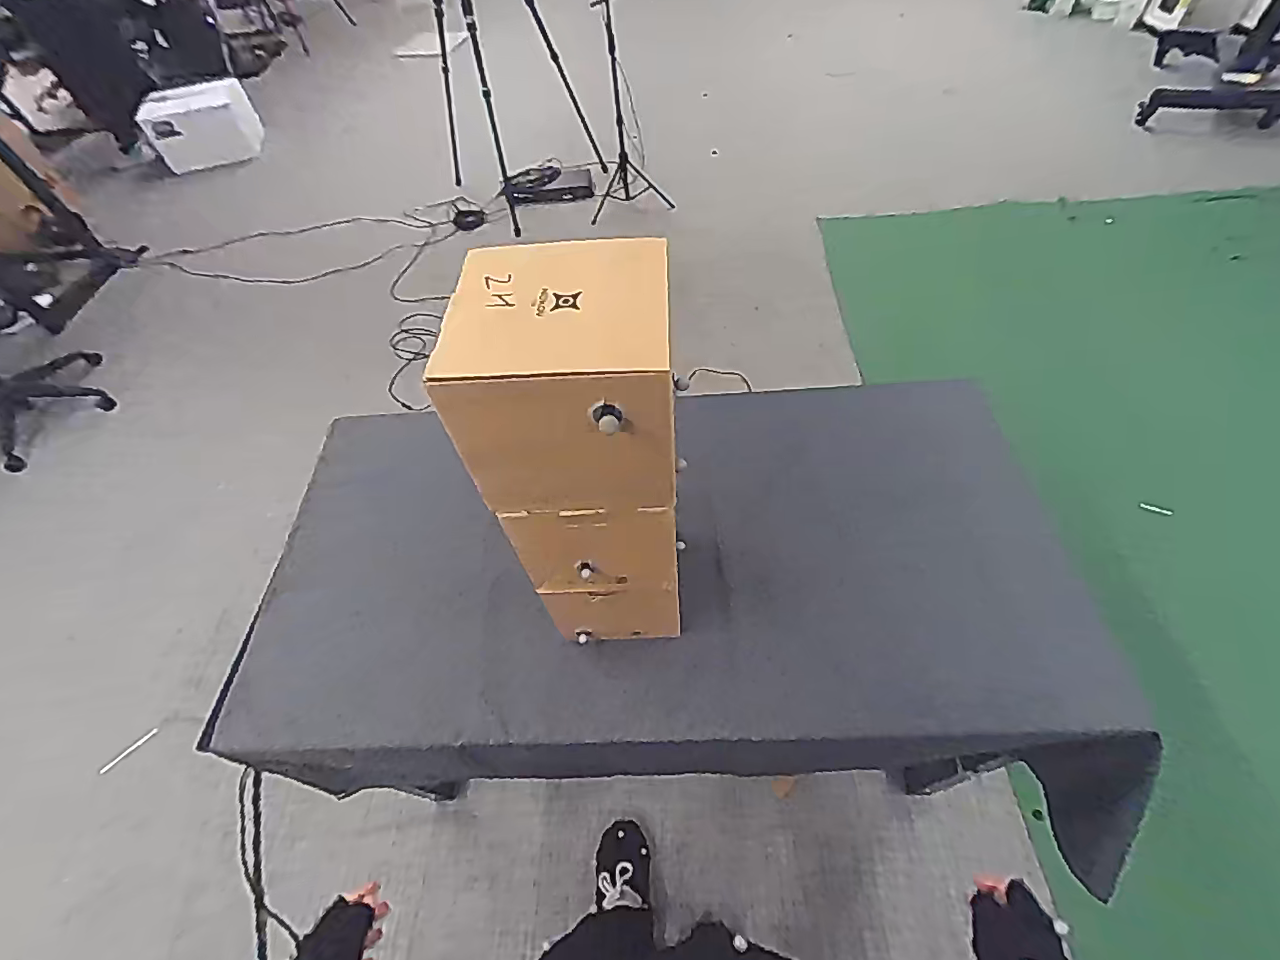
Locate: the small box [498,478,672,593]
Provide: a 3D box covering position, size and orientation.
[{"bbox_3d":[-0.049,0.014,0.623,0.168,0.176,0.179,-3,53,4],"label":"small box"}]

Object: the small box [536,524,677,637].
[{"bbox_3d":[-0.036,0.110,0.752,0.168,0.176,0.179,-4,52,4],"label":"small box"}]

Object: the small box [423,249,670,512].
[{"bbox_3d":[-0.061,-0.082,0.489,0.179,0.176,0.168,-2,53,5],"label":"small box"}]
